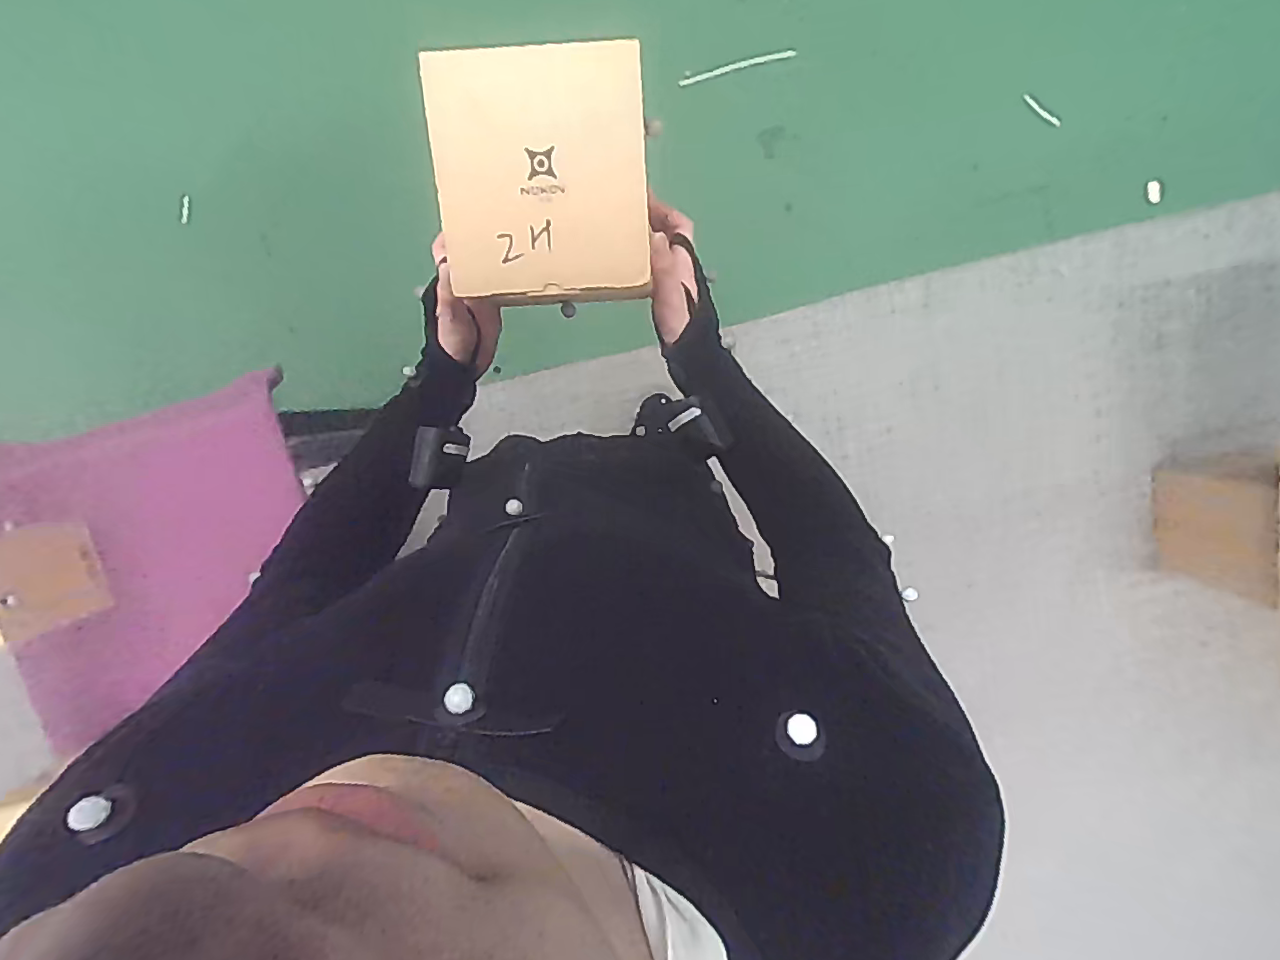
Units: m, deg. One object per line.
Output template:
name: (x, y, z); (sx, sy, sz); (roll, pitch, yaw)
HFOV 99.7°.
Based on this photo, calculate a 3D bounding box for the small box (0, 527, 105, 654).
small box: (-1.034, 0.185, 0.863); (0.179, 0.176, 0.168); (-12, 98, 4)

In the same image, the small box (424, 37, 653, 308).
small box: (-0.075, -0.254, 0.488); (0.168, 0.176, 0.179); (-2, 105, 0)

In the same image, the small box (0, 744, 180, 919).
small box: (-0.950, 0.584, 0.916); (0.179, 0.176, 0.168); (-15, 98, 3)
